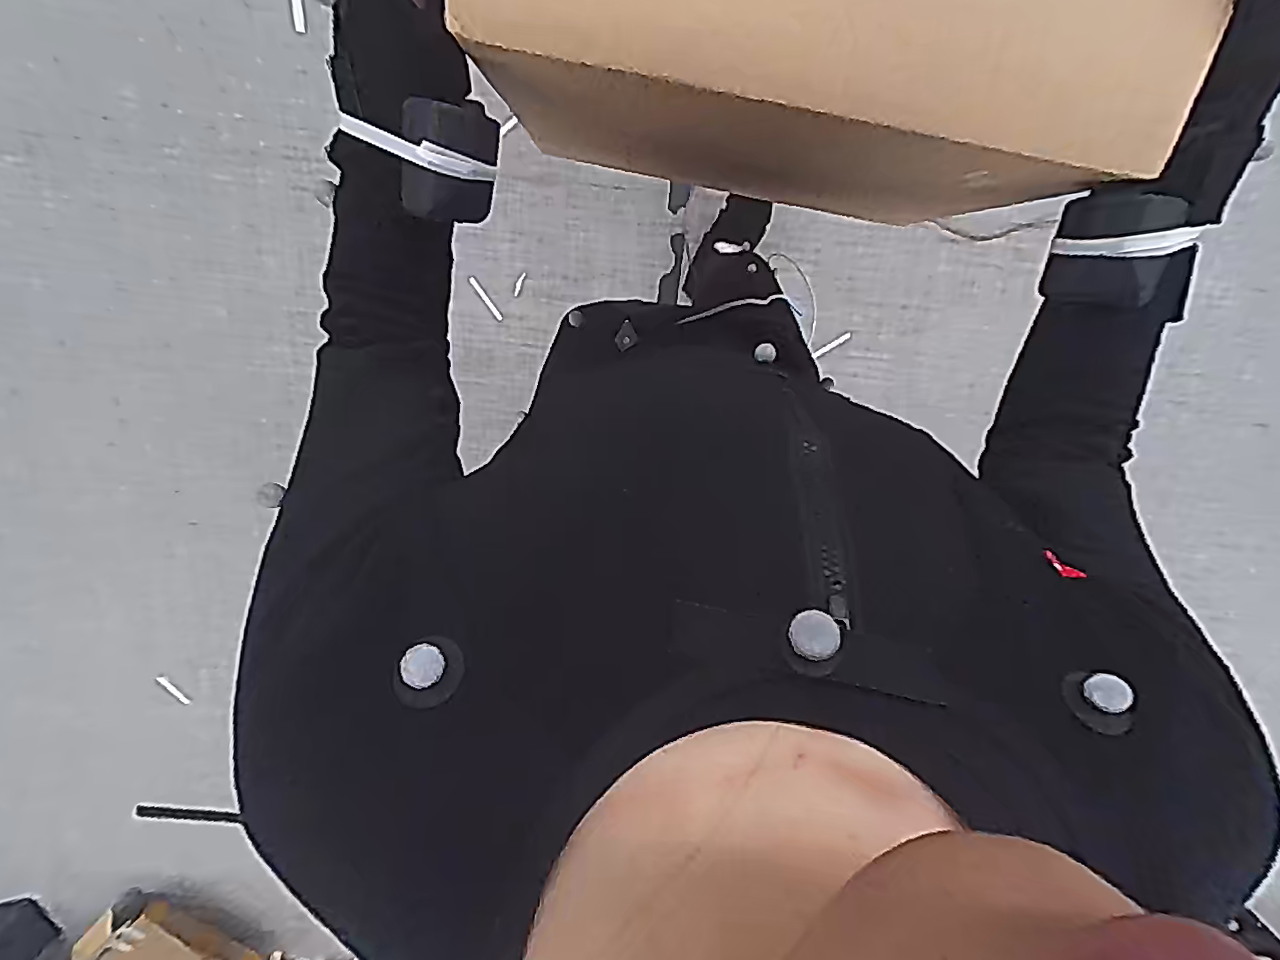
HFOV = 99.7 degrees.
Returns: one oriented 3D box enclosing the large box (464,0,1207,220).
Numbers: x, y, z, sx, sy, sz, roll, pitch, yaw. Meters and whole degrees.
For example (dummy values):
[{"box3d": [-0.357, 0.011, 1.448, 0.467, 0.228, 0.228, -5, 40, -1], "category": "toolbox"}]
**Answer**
[{"box3d": [0.117, -0.402, 0.394, 0.408, 0.320, 0.320, 9, 111, -5], "category": "large box"}]
